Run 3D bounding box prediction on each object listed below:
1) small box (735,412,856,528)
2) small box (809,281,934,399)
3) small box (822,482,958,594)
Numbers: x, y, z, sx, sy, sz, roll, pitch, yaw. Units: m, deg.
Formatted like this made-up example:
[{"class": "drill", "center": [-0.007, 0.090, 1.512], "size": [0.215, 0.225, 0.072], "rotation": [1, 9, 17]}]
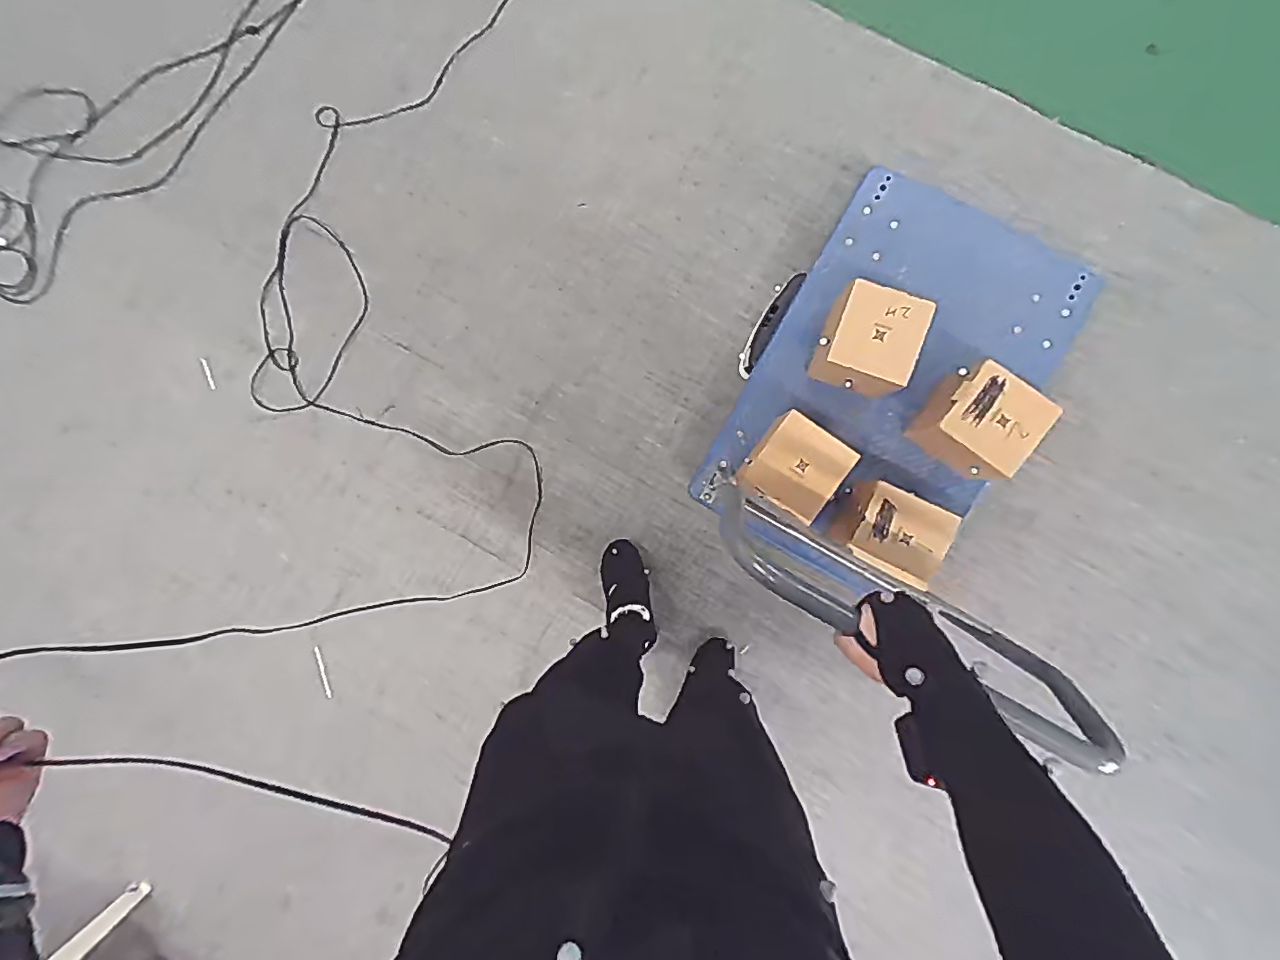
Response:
[{"class": "small box", "center": [0.318, -0.021, 1.152], "size": [0.168, 0.176, 0.179], "rotation": [36, 93, 2]}, {"class": "small box", "center": [0.474, -0.284, 1.139], "size": [0.168, 0.176, 0.179], "rotation": [21, 91, 3]}, {"class": "small box", "center": [0.510, 0.115, 1.137], "size": [0.179, 0.176, 0.168], "rotation": [26, 92, 2]}]
